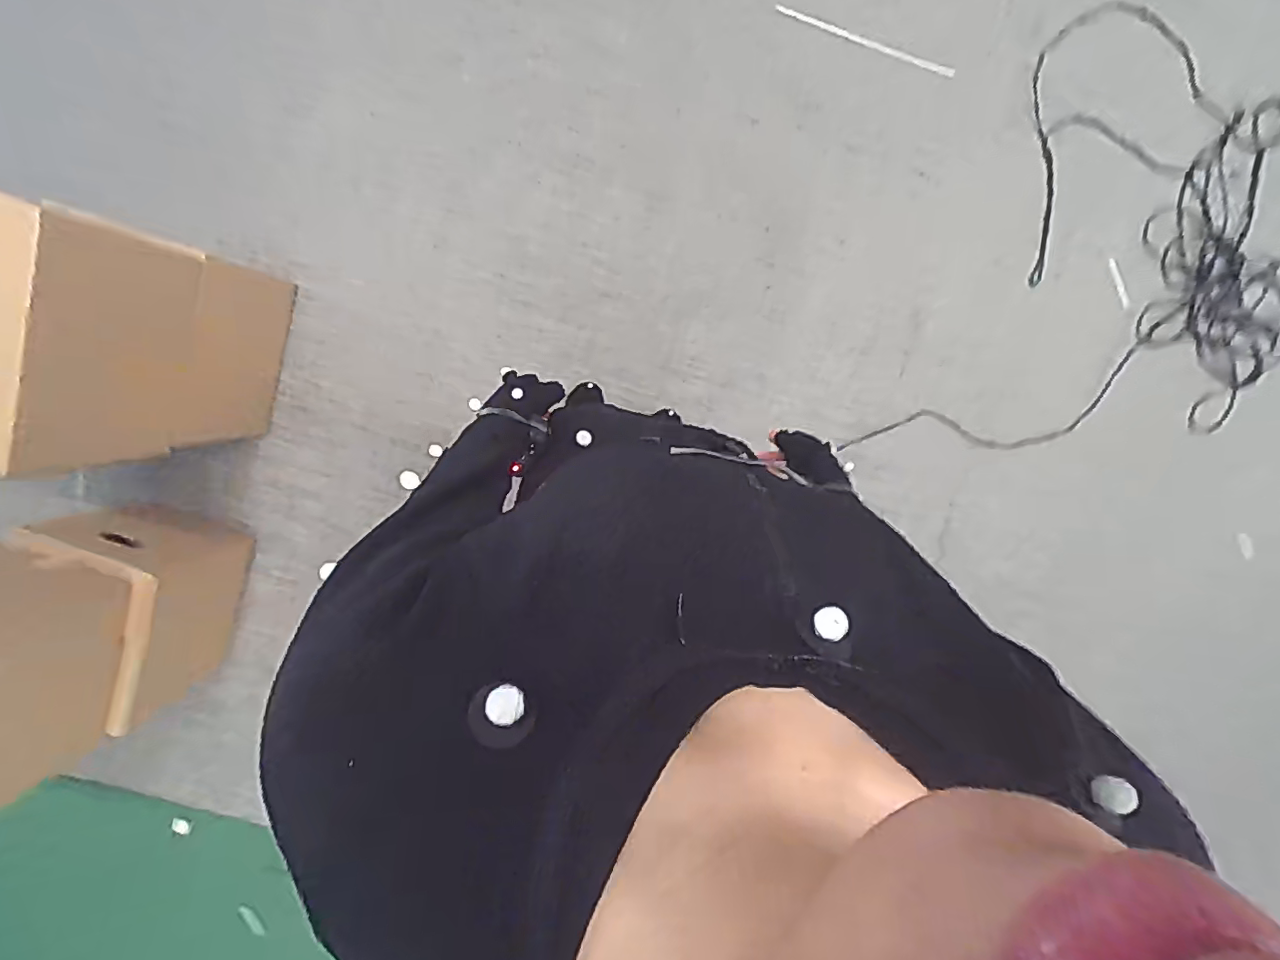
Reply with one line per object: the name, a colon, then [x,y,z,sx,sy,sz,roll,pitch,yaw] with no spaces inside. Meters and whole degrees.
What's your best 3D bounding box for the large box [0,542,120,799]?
large box: [-1.285,0.370,1.002,0.320,0.320,0.408,19,97,-2]
